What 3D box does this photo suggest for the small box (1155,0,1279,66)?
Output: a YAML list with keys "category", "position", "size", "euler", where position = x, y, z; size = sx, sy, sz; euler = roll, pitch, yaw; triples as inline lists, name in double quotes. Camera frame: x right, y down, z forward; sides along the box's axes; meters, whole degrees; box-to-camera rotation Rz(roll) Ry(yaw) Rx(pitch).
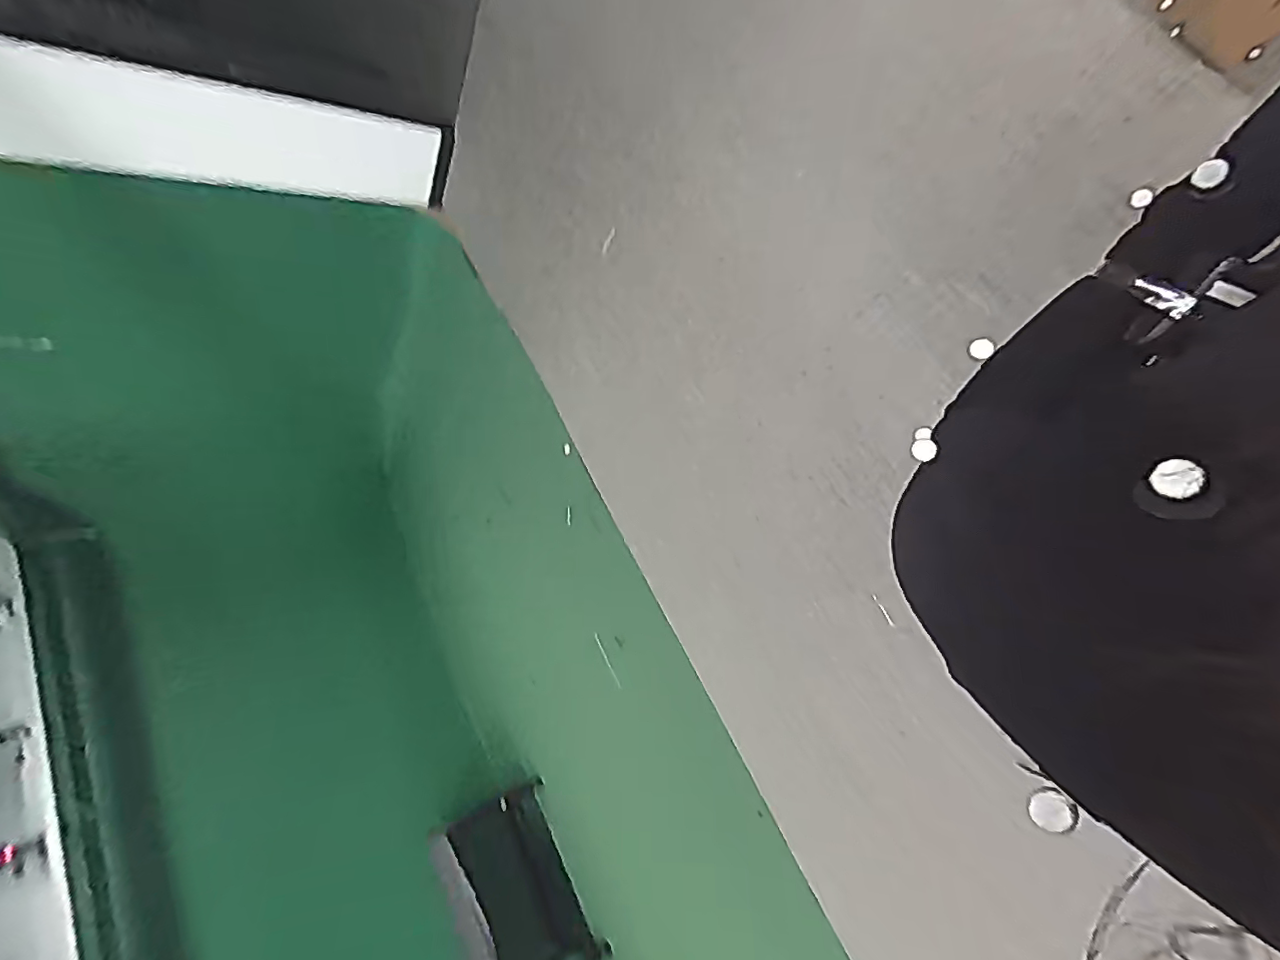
- category: "small box"
  position: [0.990, -0.815, 0.875]
  size: [0.168, 0.176, 0.179]
  euler: [-46, 66, 46]
